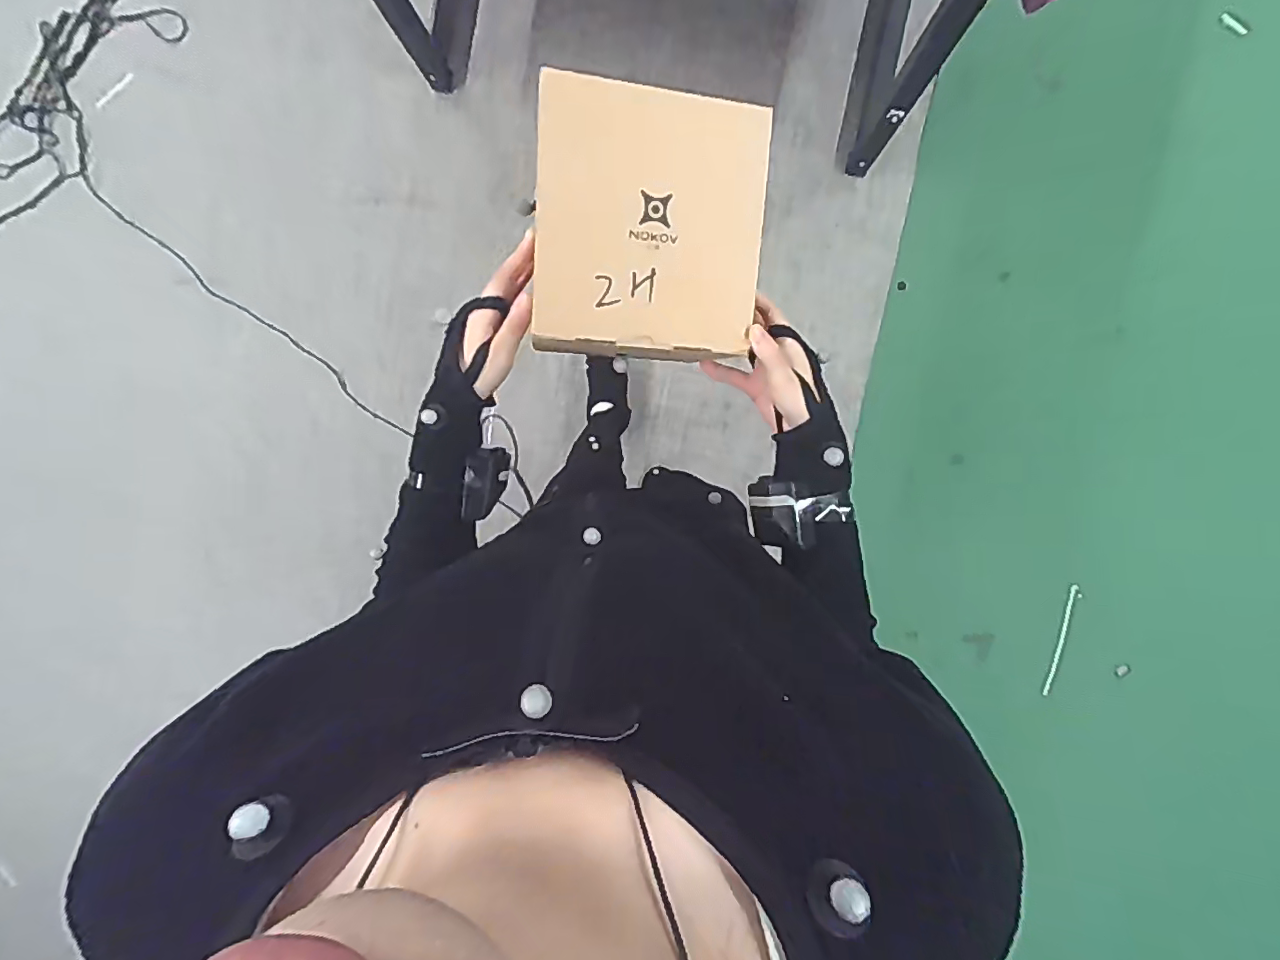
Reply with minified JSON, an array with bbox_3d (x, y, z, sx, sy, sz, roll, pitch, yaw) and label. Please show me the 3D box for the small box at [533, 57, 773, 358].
[{"bbox_3d":[-0.004,-0.206,0.465,0.168,0.176,0.179,3,99,-11],"label":"small box"}]
